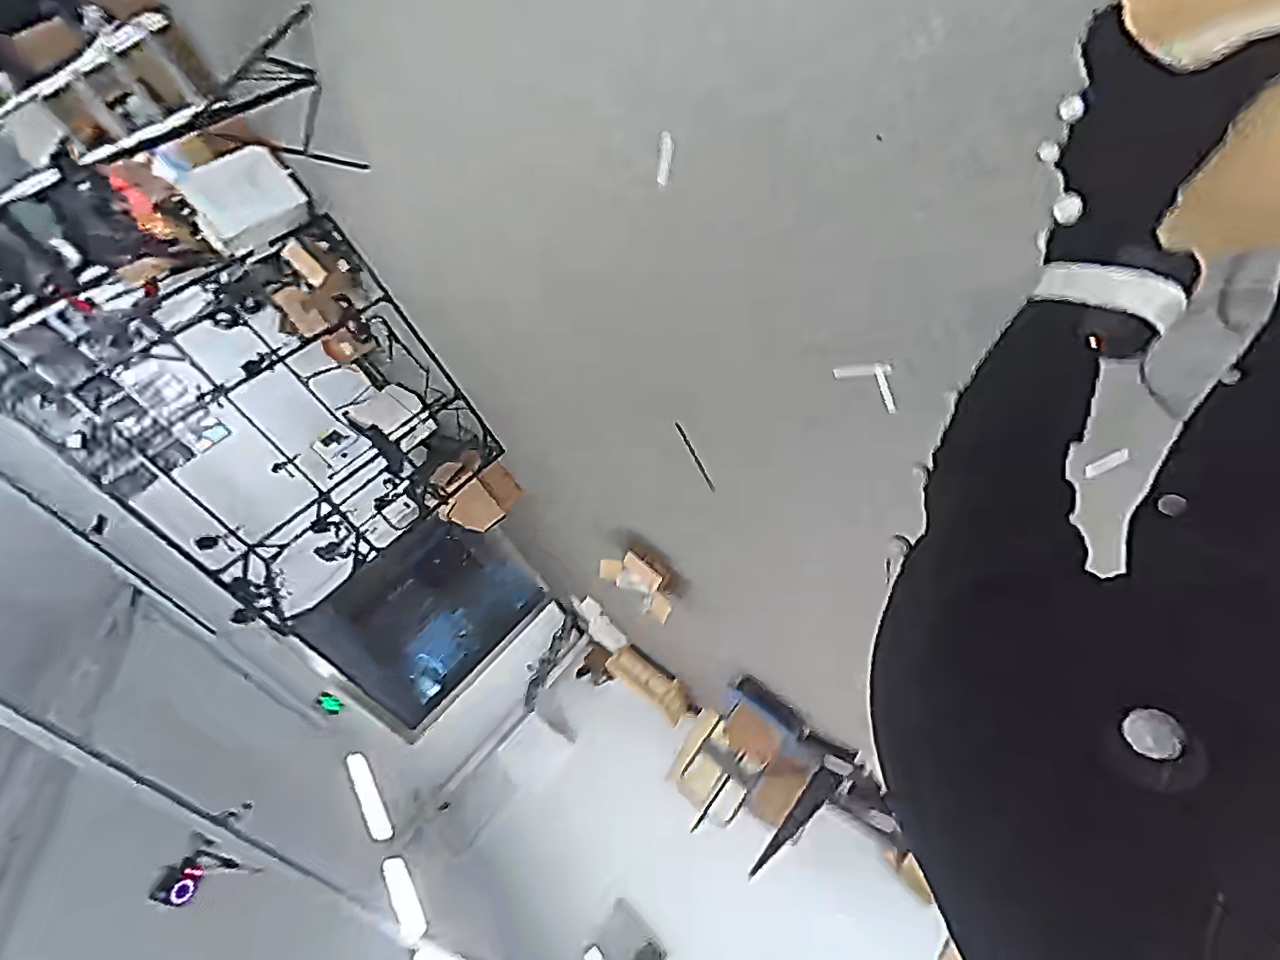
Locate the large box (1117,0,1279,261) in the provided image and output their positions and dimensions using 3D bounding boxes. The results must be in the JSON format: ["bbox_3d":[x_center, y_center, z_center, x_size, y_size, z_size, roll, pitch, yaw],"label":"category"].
[{"bbox_3d":[0.519,-0.337,0.239,0.408,0.320,0.320,21,162,46],"label":"large box"}]
